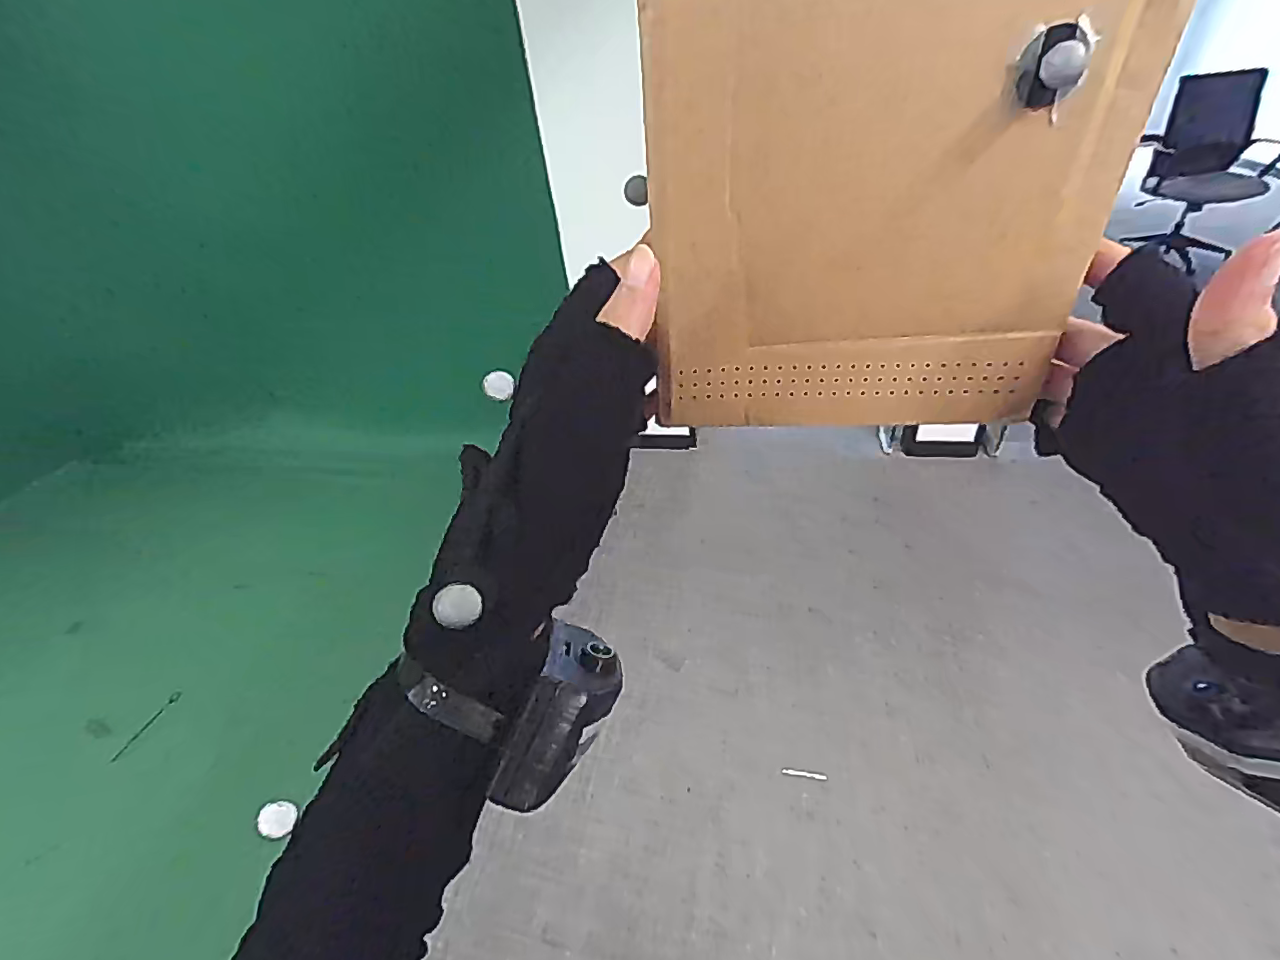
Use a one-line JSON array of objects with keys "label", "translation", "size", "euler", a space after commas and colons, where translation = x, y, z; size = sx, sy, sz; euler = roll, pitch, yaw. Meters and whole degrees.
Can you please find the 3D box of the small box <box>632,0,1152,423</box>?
[{"label": "small box", "translation": [0.093, -0.139, 0.284], "size": [0.179, 0.176, 0.168], "euler": [0, 35, 4]}]
